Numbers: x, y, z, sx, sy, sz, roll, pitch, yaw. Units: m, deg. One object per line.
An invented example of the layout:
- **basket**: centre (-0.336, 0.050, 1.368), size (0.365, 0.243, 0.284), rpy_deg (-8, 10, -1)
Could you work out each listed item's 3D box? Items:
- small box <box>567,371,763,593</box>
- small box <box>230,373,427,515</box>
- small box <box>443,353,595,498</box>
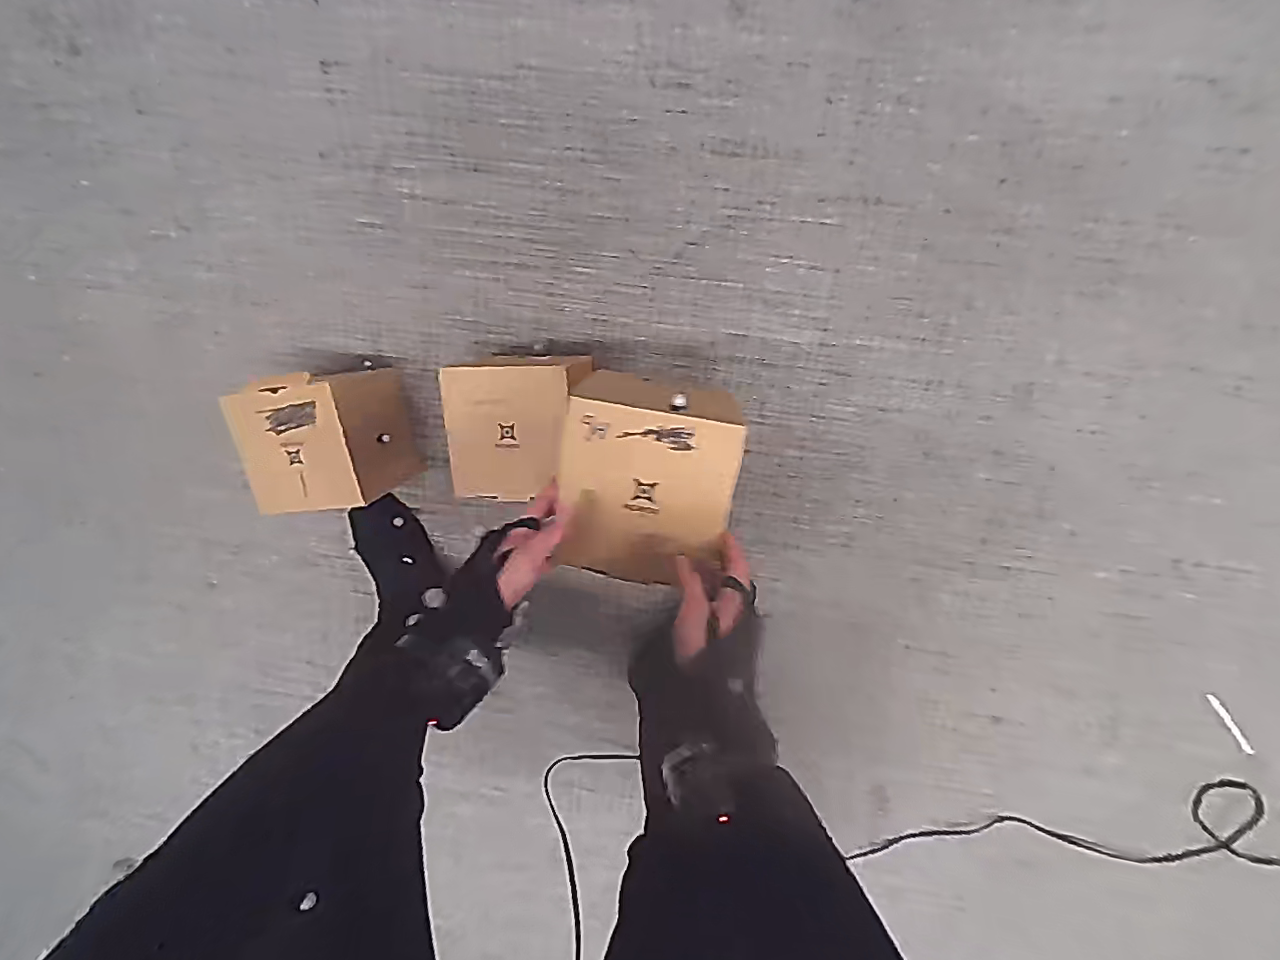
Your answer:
- **small box**: centre (0.027, -0.008, 0.589), size (0.168, 0.176, 0.179), rpy_deg (10, 111, 2)
- **small box**: centre (-0.450, -0.062, 0.811), size (0.168, 0.176, 0.179), rpy_deg (-4, 108, 9)
- **small box**: centre (-0.155, -0.083, 0.768), size (0.168, 0.176, 0.179), rpy_deg (-1, 107, 6)
